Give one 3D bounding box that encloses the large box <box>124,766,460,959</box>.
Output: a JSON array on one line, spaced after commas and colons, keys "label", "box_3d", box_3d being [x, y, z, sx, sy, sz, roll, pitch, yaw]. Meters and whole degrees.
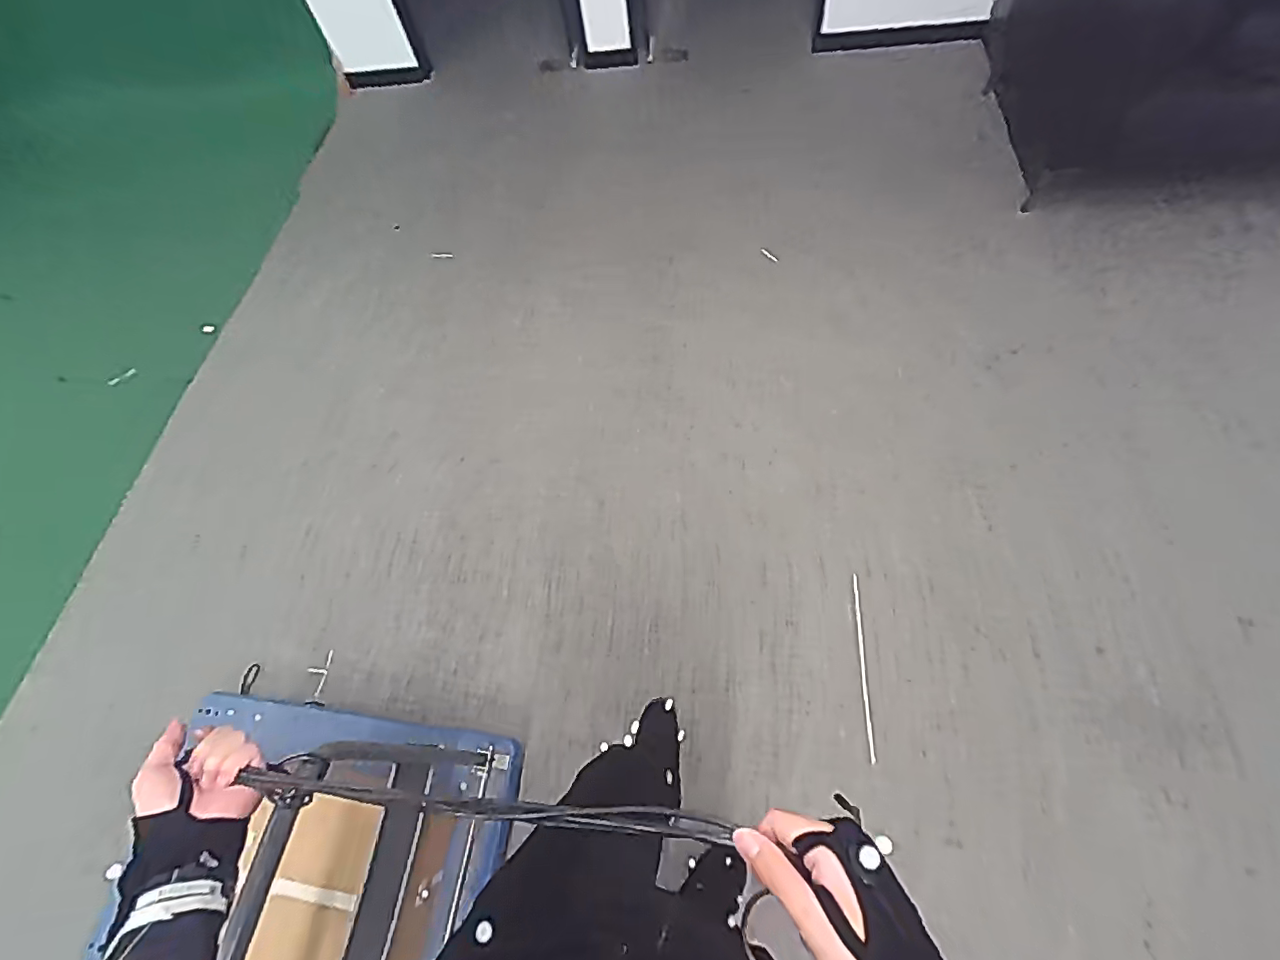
[{"label": "large box", "box_3d": [-0.633, 0.763, 1.064, 0.408, 0.320, 0.320, 4, 63, 10]}]
